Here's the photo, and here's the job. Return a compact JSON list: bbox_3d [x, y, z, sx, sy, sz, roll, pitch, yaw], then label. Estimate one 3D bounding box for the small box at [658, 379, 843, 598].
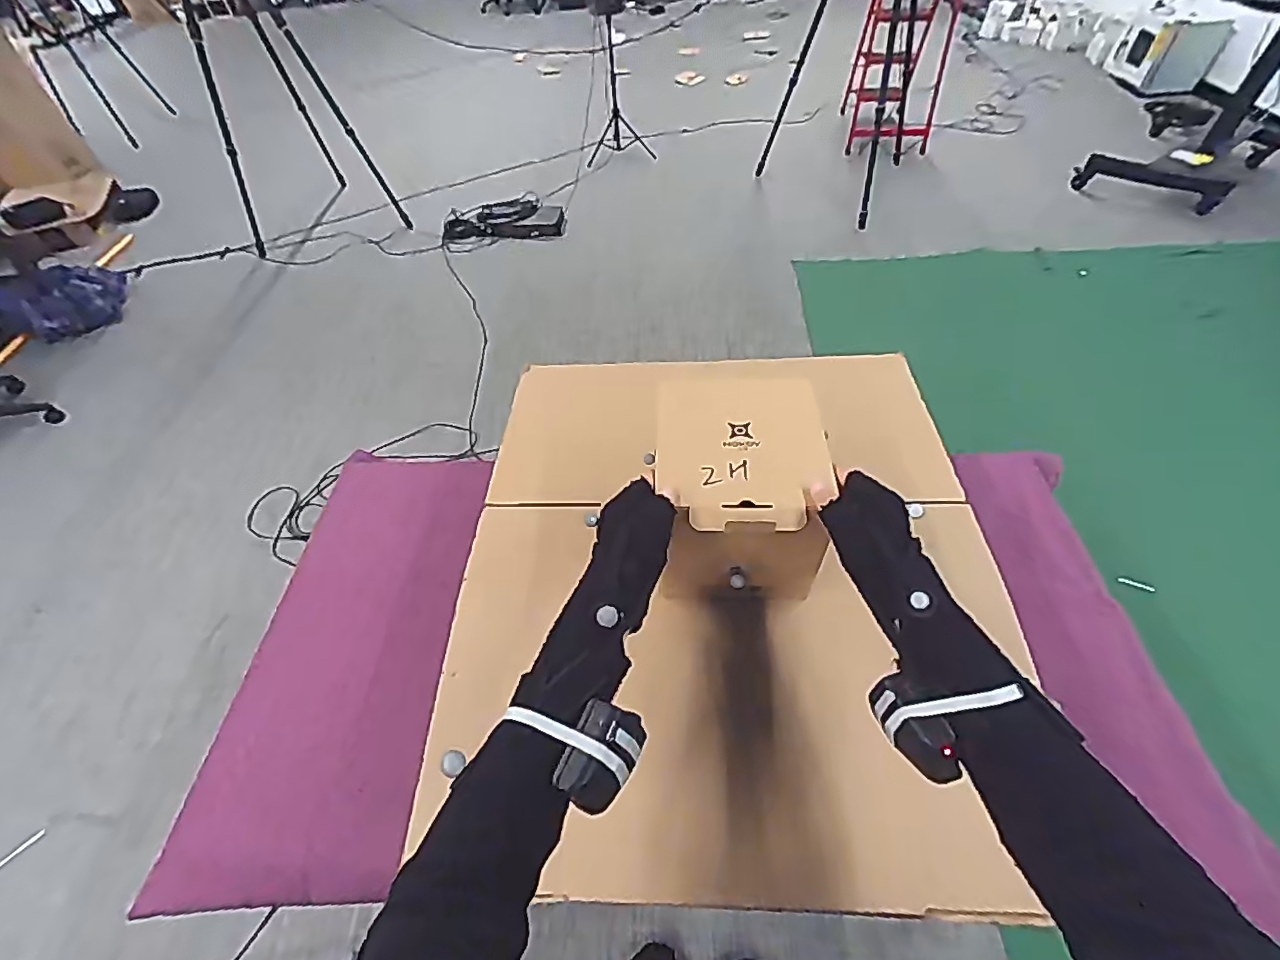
[{"bbox_3d":[0.104,0.010,0.591,0.168,0.176,0.179,0,51,4],"label":"small box"}]
